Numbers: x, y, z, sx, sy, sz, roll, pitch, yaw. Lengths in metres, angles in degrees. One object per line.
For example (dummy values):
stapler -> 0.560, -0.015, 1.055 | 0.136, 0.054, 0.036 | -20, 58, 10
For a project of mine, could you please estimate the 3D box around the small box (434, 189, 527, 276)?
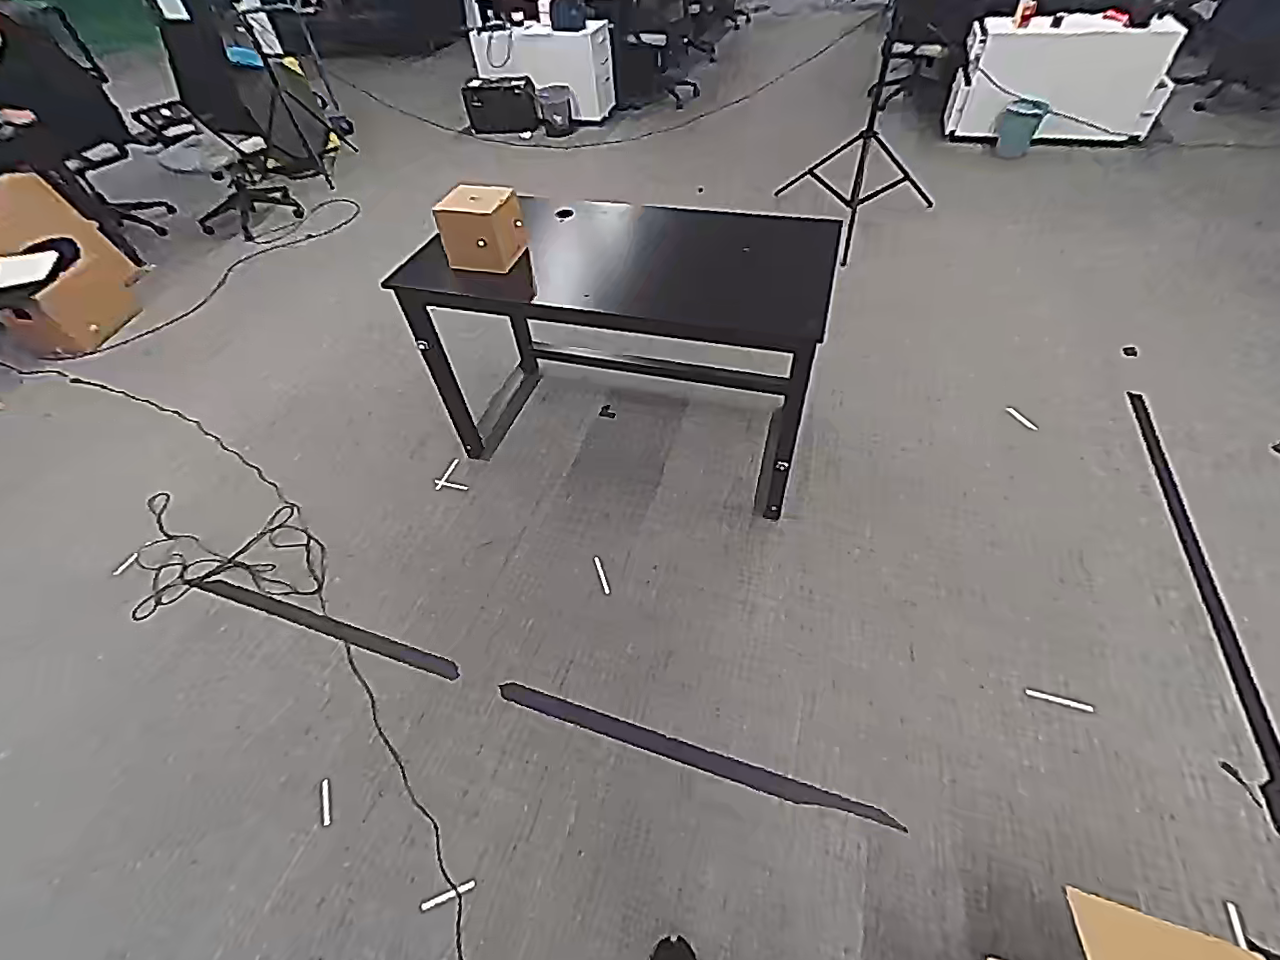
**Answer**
small box -> -0.438, -0.694, 1.522 | 0.179, 0.176, 0.168 | 9, 50, 13
